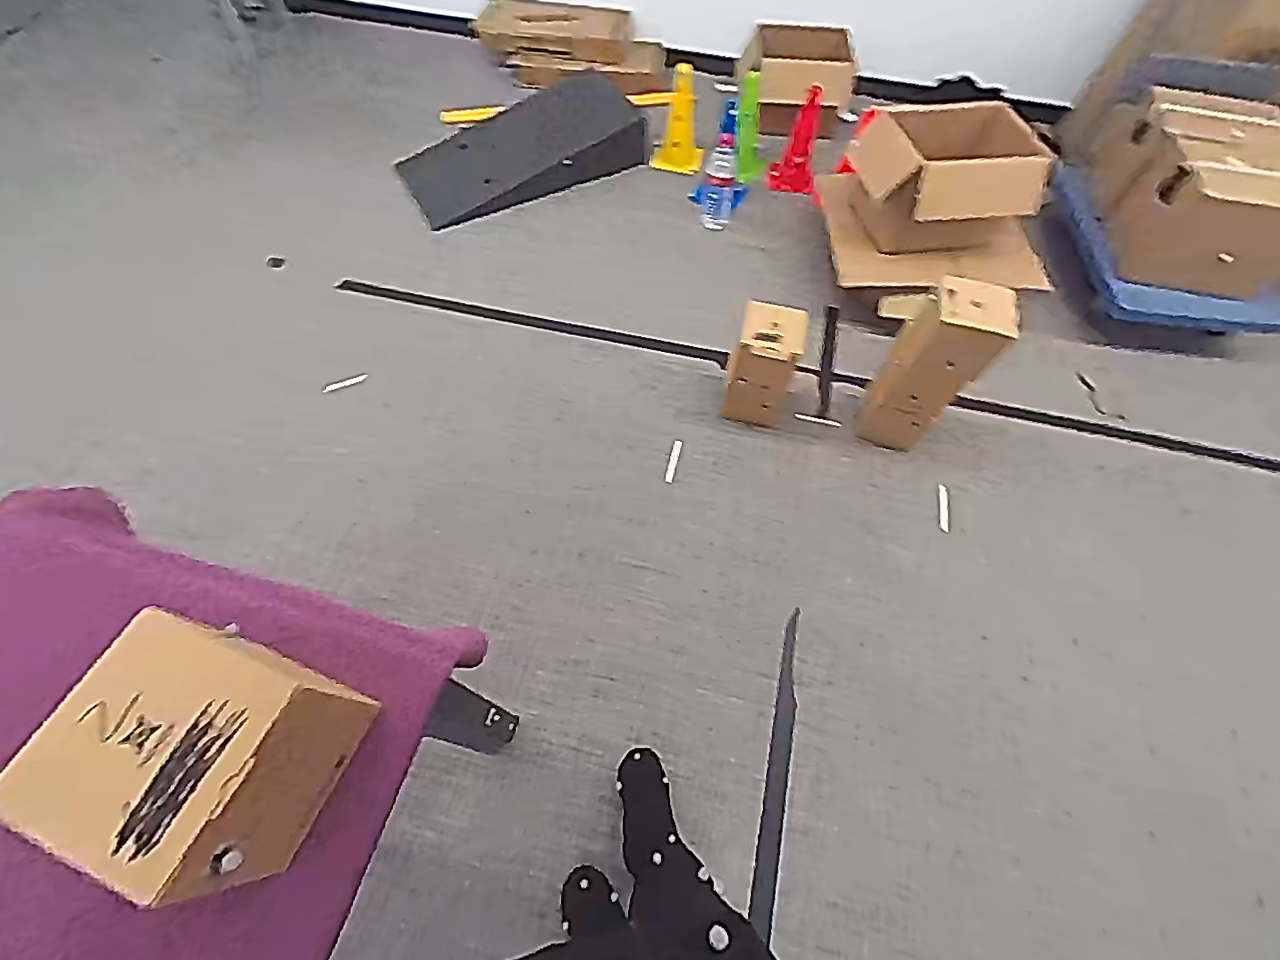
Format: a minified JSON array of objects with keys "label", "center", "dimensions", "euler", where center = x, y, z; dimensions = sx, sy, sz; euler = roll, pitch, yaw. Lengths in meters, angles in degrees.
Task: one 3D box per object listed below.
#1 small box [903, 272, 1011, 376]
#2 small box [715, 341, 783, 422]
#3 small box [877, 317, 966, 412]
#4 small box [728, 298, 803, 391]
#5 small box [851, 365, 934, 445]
[{"label":"small box","center":[0.795,-0.388,1.366],"dimensions":[0.179,0.176,0.168],"euler":[15,63,4]},{"label":"small box","center":[0.340,-0.300,1.674],"dimensions":[0.179,0.176,0.168],"euler":[10,60,5]},{"label":"small box","center":[0.780,-0.319,1.514],"dimensions":[0.168,0.176,0.179],"euler":[13,62,4]},{"label":"small box","center":[0.351,-0.379,1.530],"dimensions":[0.168,0.176,0.179],"euler":[13,60,5]},{"label":"small box","center":[0.771,-0.229,1.650],"dimensions":[0.179,0.176,0.168],"euler":[17,61,6]}]
